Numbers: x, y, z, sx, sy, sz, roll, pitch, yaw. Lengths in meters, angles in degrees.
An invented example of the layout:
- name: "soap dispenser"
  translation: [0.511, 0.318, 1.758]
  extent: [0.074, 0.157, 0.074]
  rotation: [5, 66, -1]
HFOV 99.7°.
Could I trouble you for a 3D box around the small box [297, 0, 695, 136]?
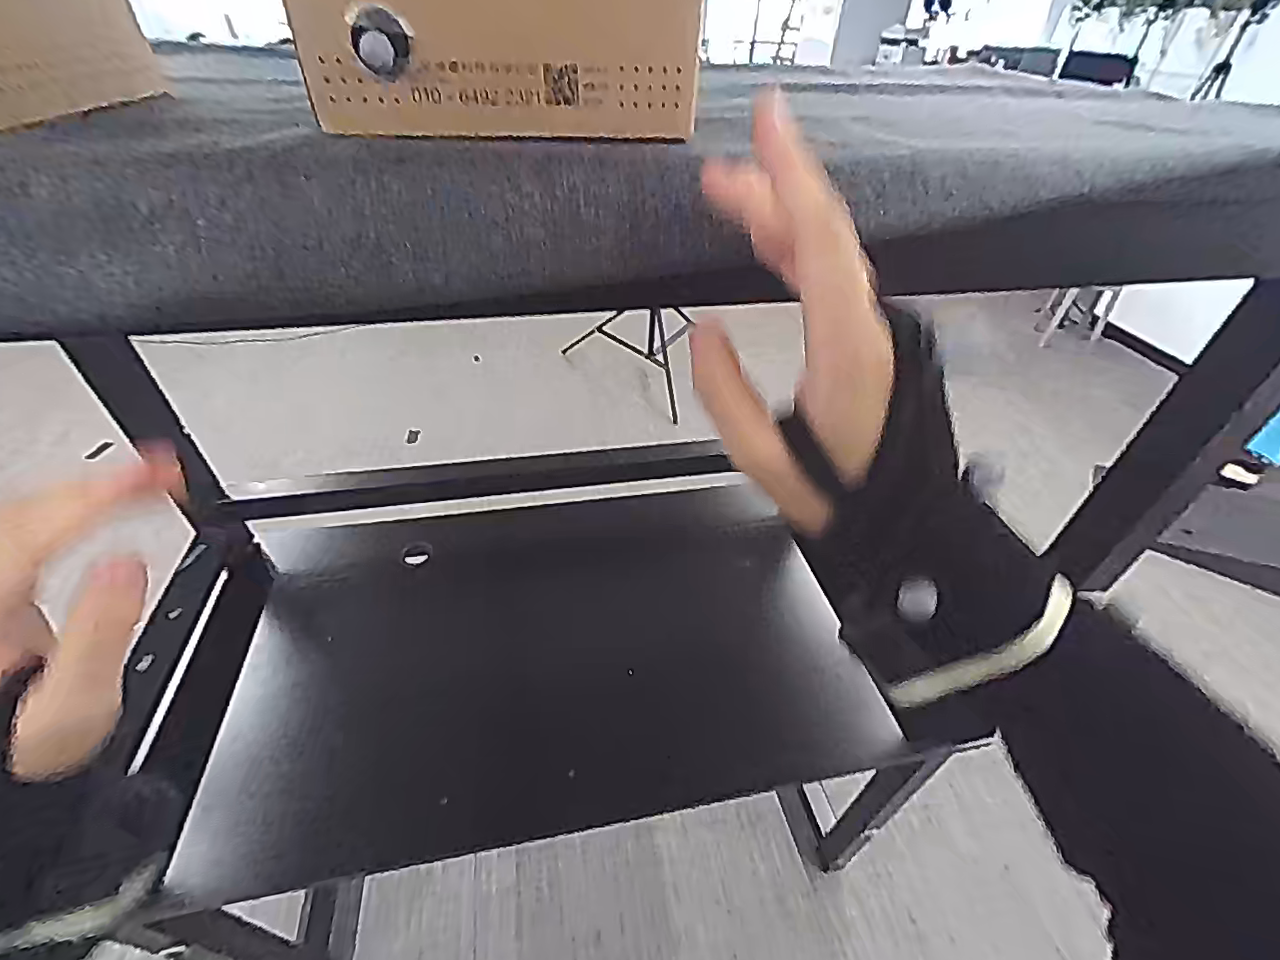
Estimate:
- name: "small box"
  translation: [-0.068, -0.271, 0.256]
  extent: [0.168, 0.176, 0.179]
  rotation: [-5, 39, -10]
